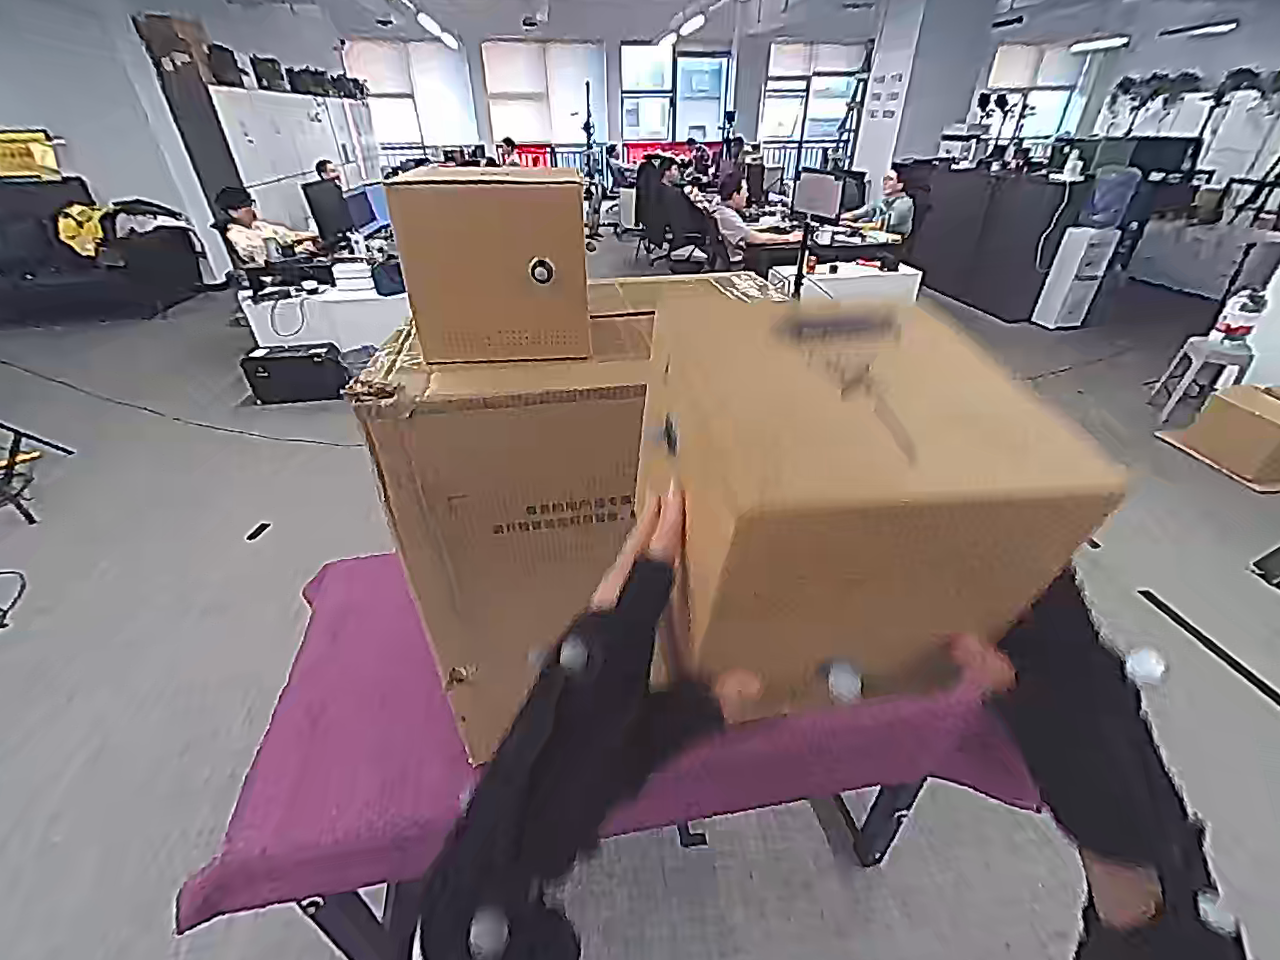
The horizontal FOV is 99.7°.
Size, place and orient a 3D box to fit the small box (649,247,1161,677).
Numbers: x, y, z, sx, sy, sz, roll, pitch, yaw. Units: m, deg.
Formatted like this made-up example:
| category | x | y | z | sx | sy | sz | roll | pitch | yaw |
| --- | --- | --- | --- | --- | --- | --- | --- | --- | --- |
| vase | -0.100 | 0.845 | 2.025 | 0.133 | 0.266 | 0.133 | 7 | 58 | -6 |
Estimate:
| category | x | y | z | sx | sy | sz | roll | pitch | yaw |
| --- | --- | --- | --- | --- | --- | --- | --- | --- | --- |
| small box | 0.101 | -0.013 | 0.307 | 0.168 | 0.176 | 0.179 | -2 | 44 | -8 |

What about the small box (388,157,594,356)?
| category | x | y | z | sx | sy | sz | roll | pitch | yaw |
| --- | --- | --- | --- | --- | --- | --- | --- | --- | --- |
| small box | -0.140 | -0.242 | 0.580 | 0.179 | 0.176 | 0.168 | -4 | 33 | -6 |
